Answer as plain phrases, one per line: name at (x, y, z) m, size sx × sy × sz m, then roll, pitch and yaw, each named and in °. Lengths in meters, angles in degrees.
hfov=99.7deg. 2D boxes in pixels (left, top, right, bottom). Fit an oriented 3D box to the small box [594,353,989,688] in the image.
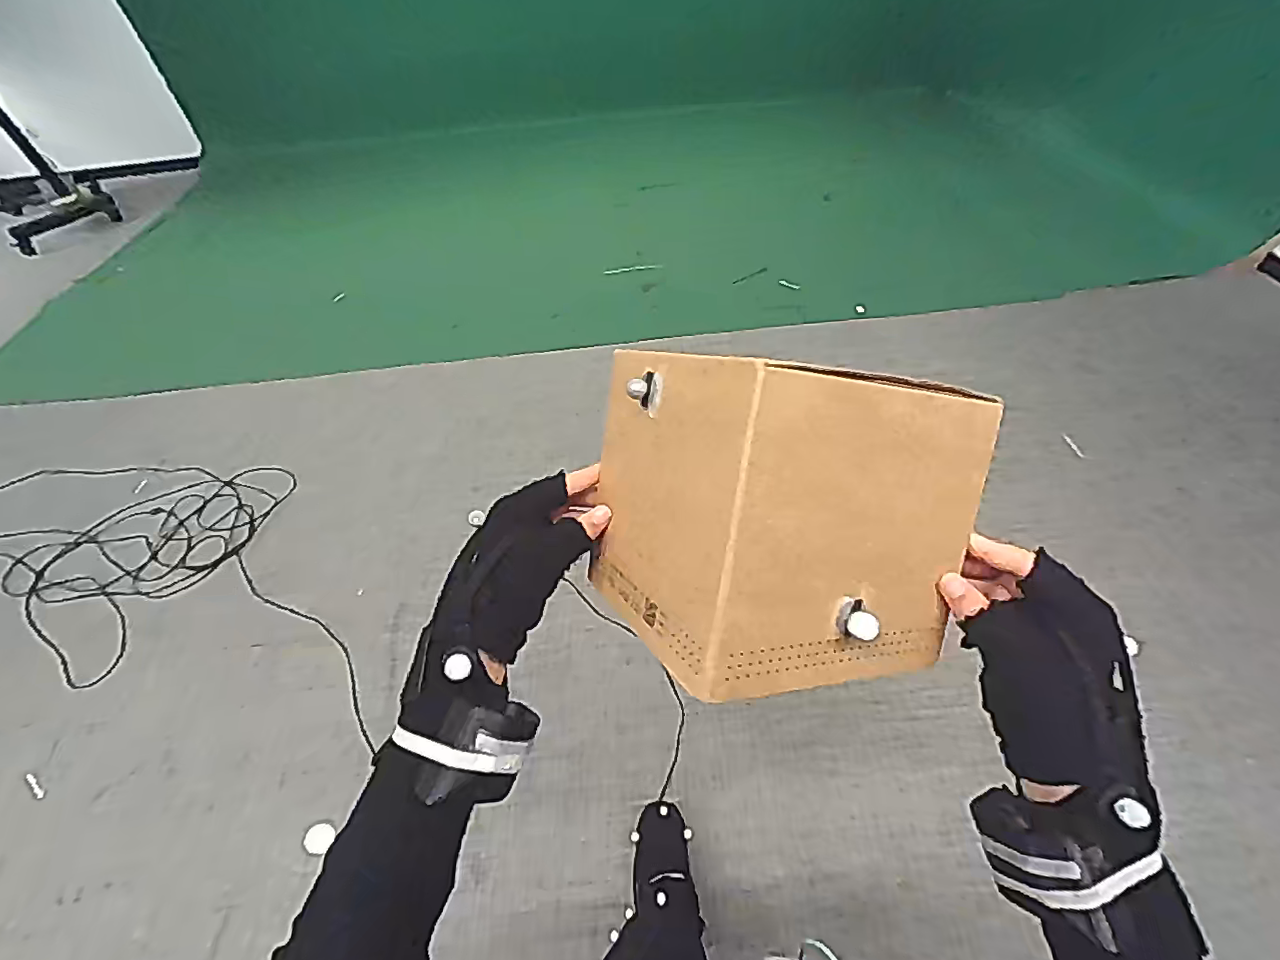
small box at (0.082, 0.014, 0.362) m, size 0.179 × 0.176 × 0.168 m, roll 2°, pitch 12°, yaw -25°
